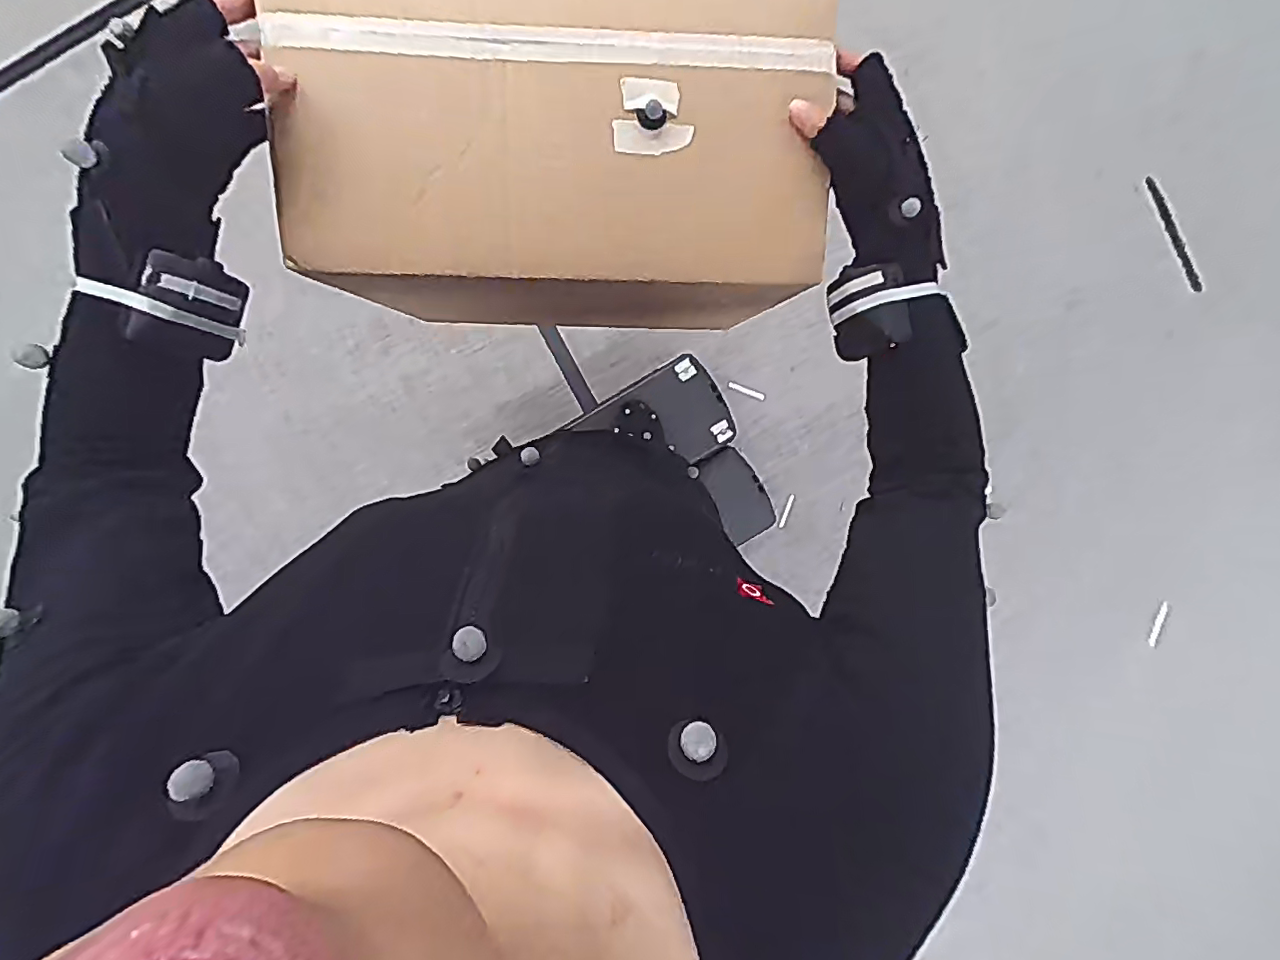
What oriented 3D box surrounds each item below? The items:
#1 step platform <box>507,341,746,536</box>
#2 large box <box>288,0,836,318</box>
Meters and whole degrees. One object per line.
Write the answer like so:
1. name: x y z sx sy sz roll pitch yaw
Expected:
1. step platform: -0.040 -0.119 1.568 0.684 0.204 0.286 -32 96 0
2. large box: -0.064 -0.342 0.543 0.408 0.320 0.320 0 100 -5
